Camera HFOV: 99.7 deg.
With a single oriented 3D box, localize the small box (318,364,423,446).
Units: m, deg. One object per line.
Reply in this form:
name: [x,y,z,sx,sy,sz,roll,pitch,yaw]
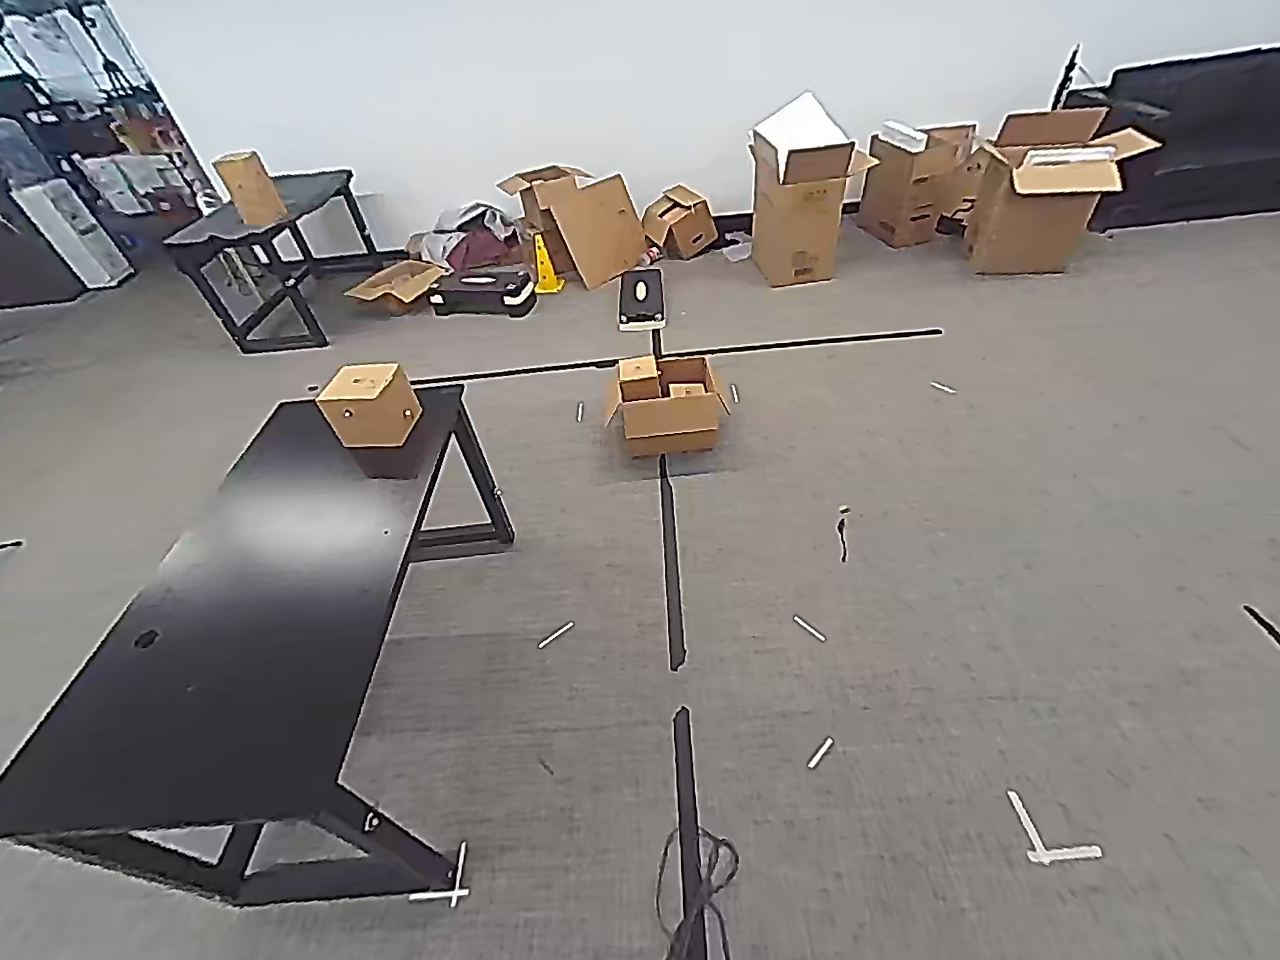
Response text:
small box: [-0.748,-0.207,1.523,0.179,0.176,0.168,0,45,8]
